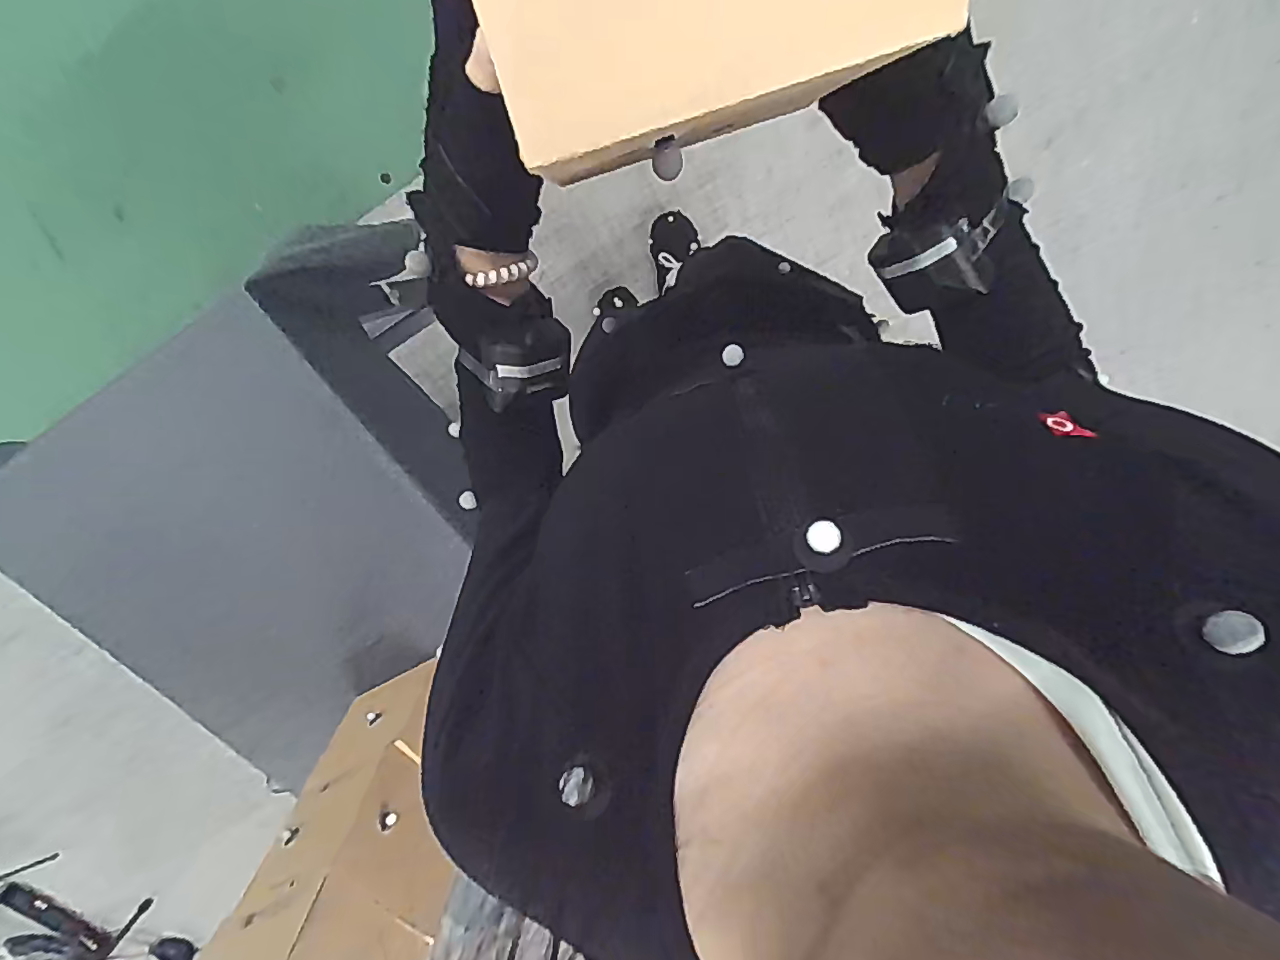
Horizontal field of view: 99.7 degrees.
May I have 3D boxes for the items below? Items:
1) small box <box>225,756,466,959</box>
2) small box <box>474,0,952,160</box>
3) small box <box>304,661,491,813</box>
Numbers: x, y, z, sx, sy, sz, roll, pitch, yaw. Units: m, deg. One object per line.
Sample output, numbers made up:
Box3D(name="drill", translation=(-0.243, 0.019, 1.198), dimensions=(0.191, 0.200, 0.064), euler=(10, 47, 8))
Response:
Box3D(name="small box", translation=(-0.358, 0.489, 0.695), dimensions=(0.168, 0.176, 0.179), euler=(-31, 110, 12))
Box3D(name="small box", translation=(0.009, -0.255, 0.230), dimensions=(0.168, 0.176, 0.179), euler=(-15, 115, 5))
Box3D(name="small box", translation=(-0.361, 0.422, 0.844), dimensions=(0.179, 0.176, 0.168), euler=(-29, 111, 10))
